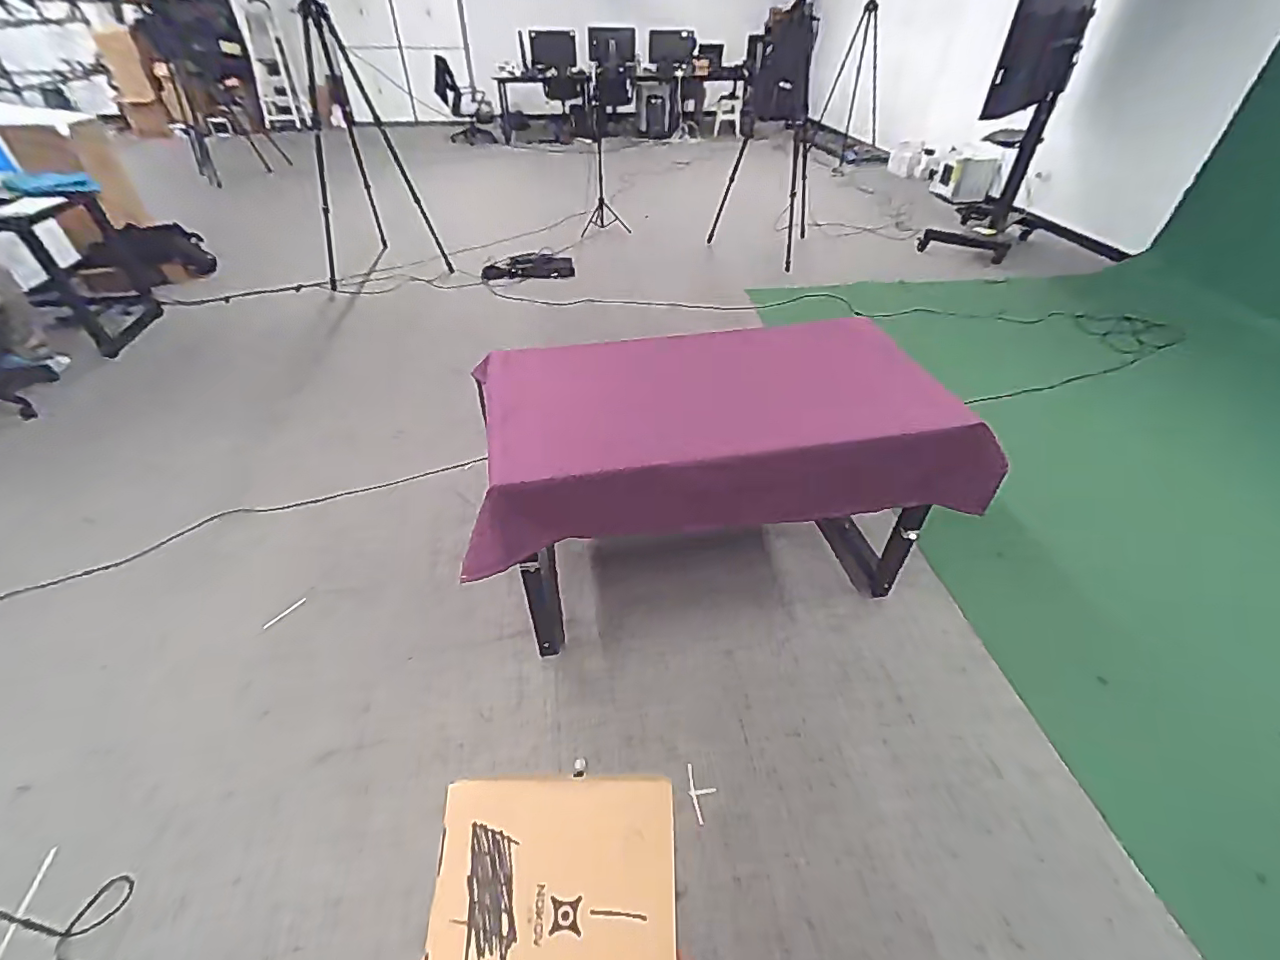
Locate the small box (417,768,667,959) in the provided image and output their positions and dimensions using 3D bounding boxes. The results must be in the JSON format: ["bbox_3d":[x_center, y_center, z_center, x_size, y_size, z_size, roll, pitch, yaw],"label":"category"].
[{"bbox_3d":[-0.068,0.341,0.458,0.179,0.176,0.168,1,63,-1],"label":"small box"}]
